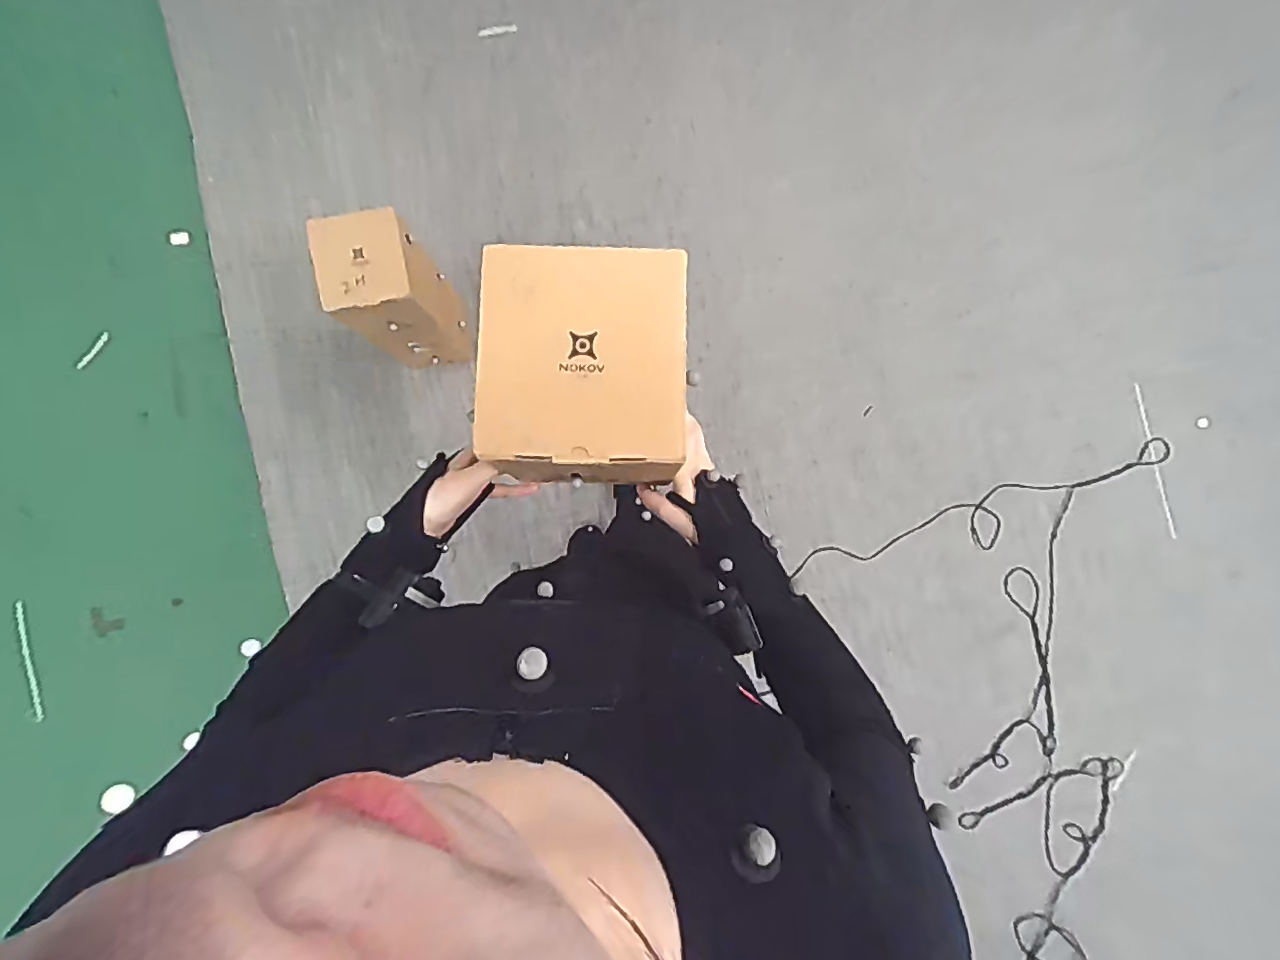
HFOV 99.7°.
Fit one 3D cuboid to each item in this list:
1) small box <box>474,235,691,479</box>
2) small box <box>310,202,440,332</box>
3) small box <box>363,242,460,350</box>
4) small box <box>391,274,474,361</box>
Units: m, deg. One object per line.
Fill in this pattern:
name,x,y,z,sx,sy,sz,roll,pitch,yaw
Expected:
small box,-0.046,-0.098,0.501,0.168,0.176,0.179,1,85,-1
small box,-0.515,-0.413,1.072,0.168,0.176,0.179,-11,90,-2
small box,-0.527,-0.414,1.237,0.168,0.176,0.179,-11,91,-2
small box,-0.540,-0.412,1.399,0.168,0.176,0.179,-8,90,-4
